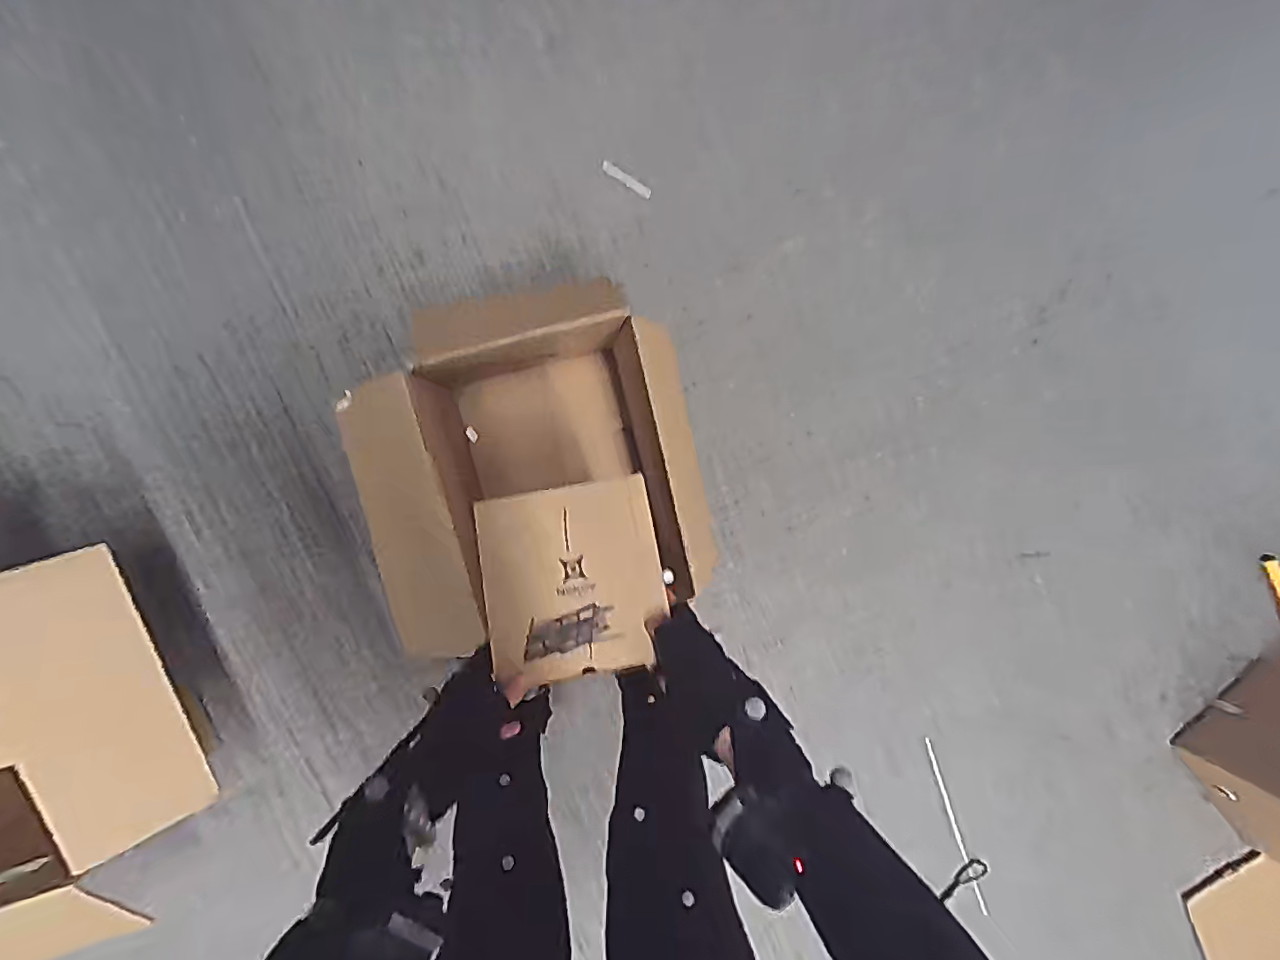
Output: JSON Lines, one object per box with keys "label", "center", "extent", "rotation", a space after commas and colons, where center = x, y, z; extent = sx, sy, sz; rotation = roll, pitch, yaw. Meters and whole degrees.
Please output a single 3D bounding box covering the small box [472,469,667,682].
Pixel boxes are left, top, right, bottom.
{"label": "small box", "center": [-0.069, 0.102, 0.583], "extent": [0.168, 0.176, 0.179], "rotation": [-10, 77, -4]}
